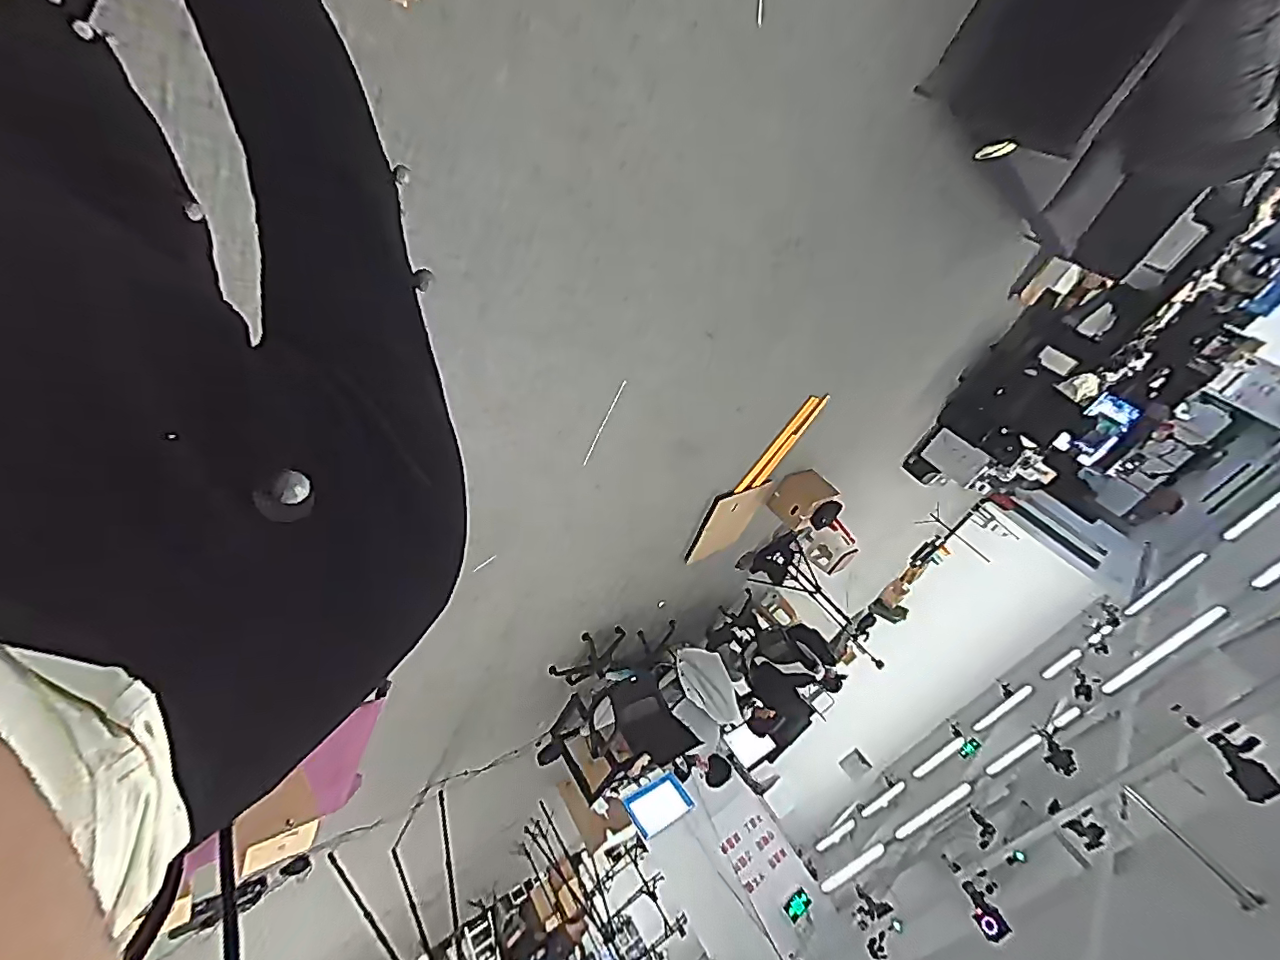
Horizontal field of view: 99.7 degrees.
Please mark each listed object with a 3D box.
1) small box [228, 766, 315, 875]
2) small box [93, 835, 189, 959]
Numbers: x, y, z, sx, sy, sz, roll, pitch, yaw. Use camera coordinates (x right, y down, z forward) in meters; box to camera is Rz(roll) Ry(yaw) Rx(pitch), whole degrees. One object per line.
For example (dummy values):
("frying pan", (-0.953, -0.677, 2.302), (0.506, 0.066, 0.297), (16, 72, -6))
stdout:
("small box", (-1.032, 0.941, 1.508), (0.168, 0.176, 0.179), (-2, 131, -46))
("small box", (-1.275, 1.053, 1.381), (0.168, 0.176, 0.179), (-4, 133, -45))
